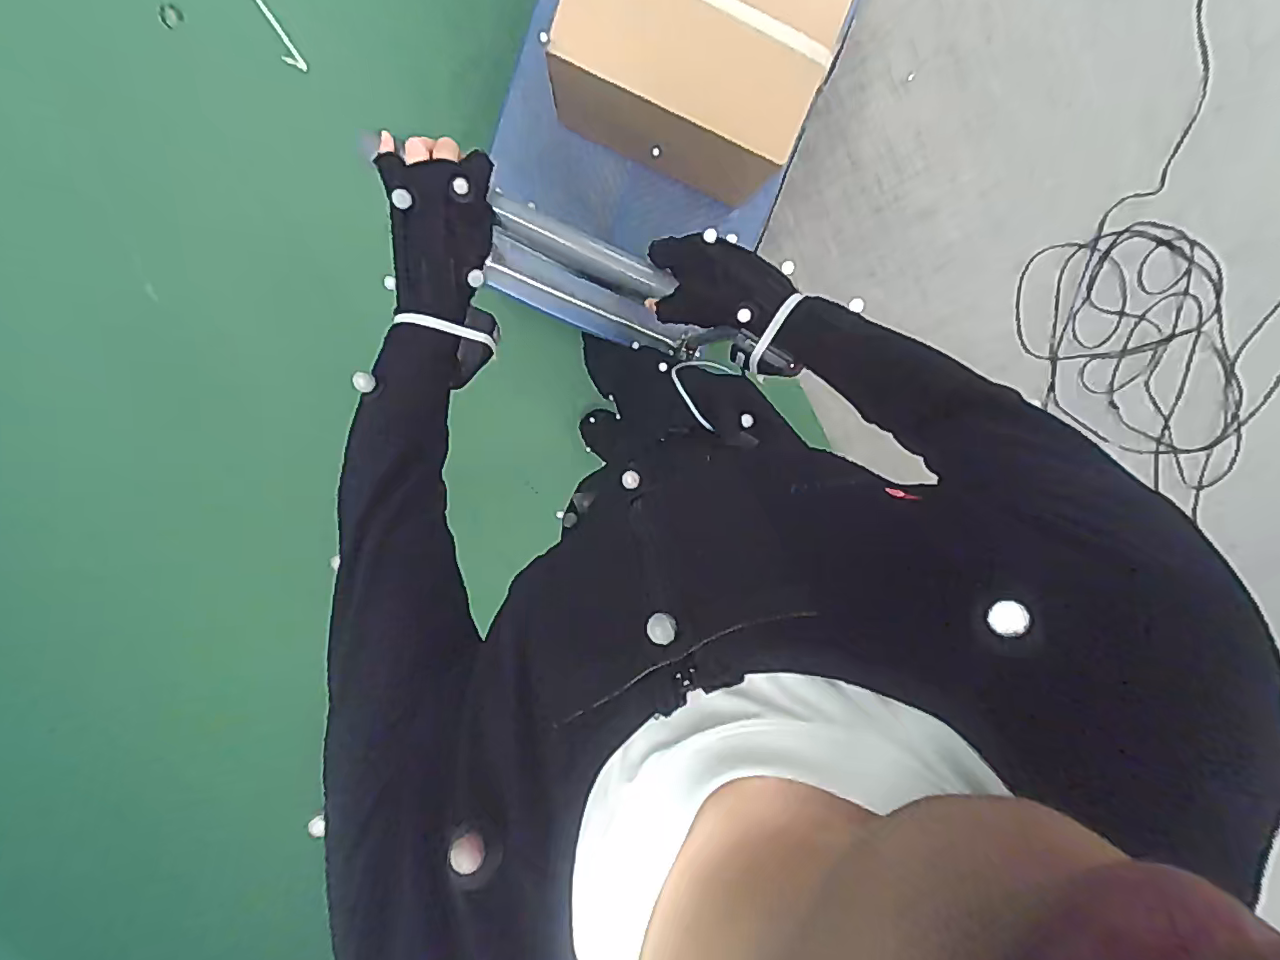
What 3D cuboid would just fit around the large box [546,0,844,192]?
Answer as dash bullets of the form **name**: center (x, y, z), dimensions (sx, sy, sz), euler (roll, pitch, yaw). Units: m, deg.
- **large box**: center (0.089, -0.763, 0.943), dimensions (0.408, 0.320, 0.320), euler (20, 104, -9)
